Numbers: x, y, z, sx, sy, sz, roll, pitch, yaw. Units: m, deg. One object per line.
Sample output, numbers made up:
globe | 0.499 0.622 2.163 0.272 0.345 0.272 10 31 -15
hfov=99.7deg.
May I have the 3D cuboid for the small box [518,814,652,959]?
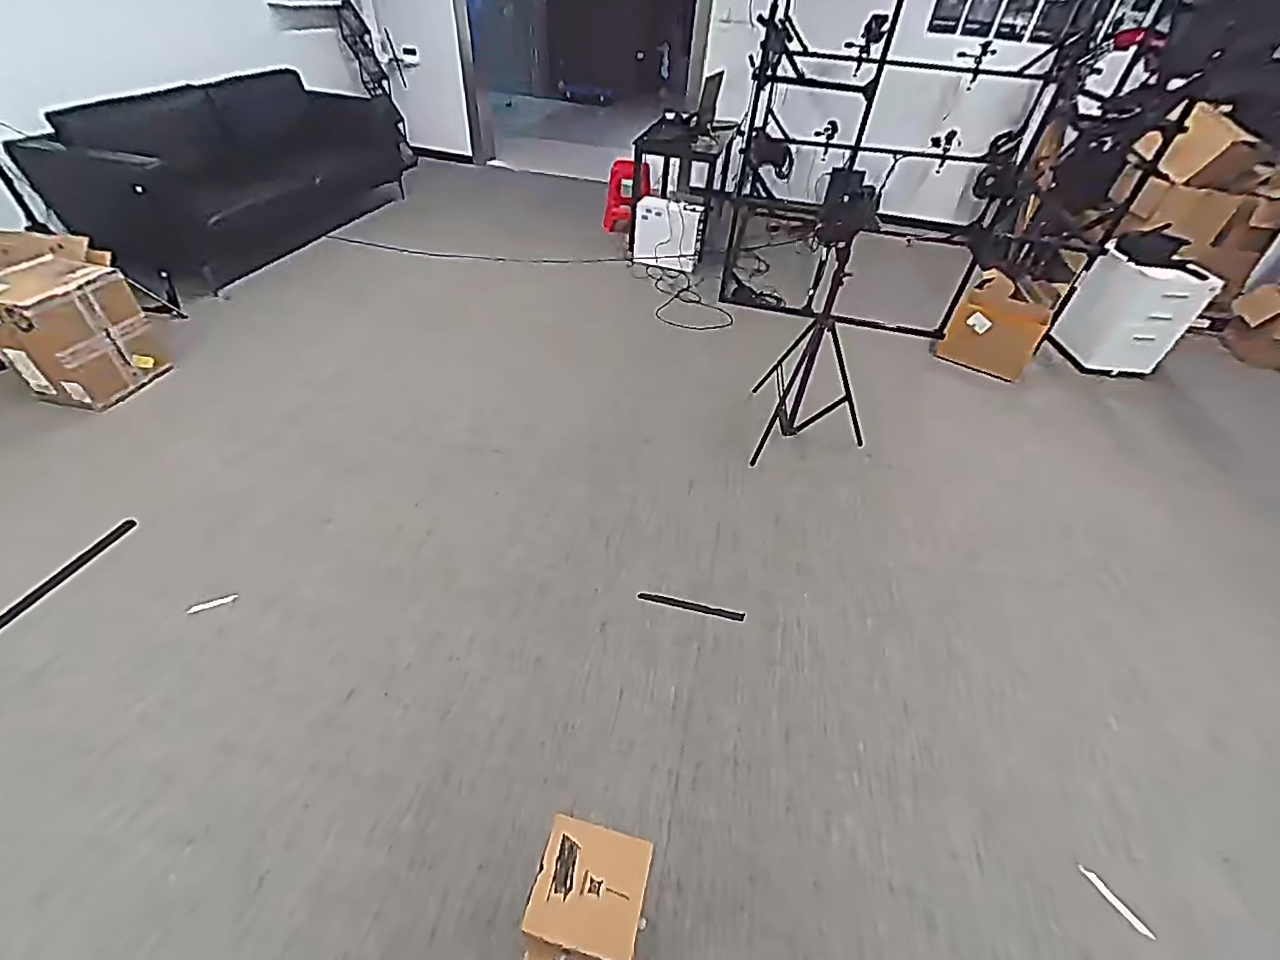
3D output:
small box | -0.089 0.702 0.910 0.179 0.176 0.168 13 42 7
